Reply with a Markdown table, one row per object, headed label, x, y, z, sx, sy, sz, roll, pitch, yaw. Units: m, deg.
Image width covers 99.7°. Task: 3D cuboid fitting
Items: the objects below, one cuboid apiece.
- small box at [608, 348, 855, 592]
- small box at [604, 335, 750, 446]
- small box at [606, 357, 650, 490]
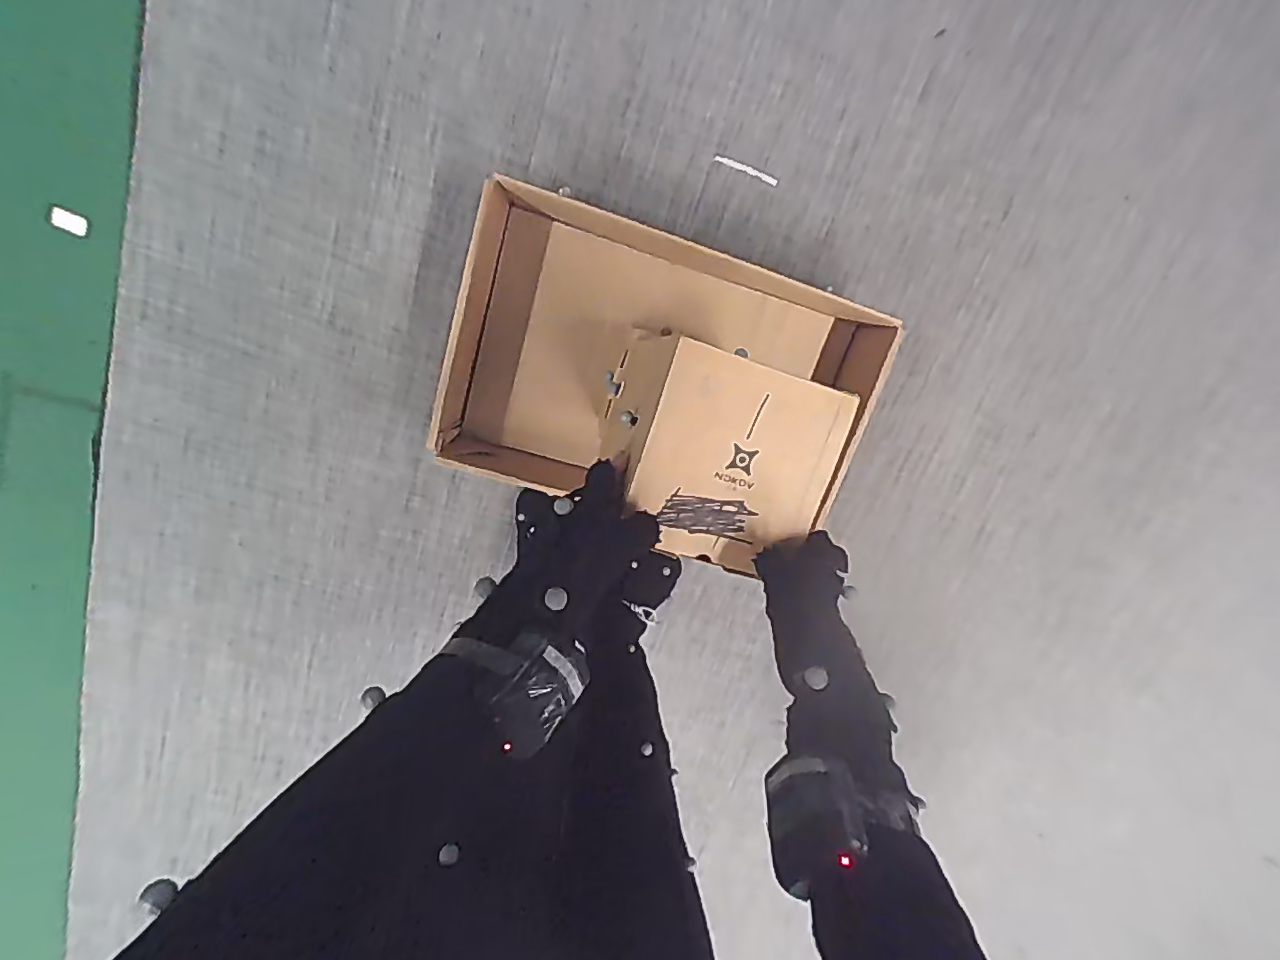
| label | x | y | z | sx | sy | sz | roll | pitch | yaw |
| --- | --- | --- | --- | --- | --- | --- | --- | --- | --- |
| small box | 0.071 | -0.019 | 0.533 | 0.168 | 0.176 | 0.179 | 17 | 100 | -11 |
| small box | 0.046 | -0.122 | 0.851 | 0.179 | 0.176 | 0.168 | 14 | 103 | -9 |
| small box | 0.060 | -0.054 | 0.683 | 0.179 | 0.176 | 0.168 | 12 | 104 | -9 |
